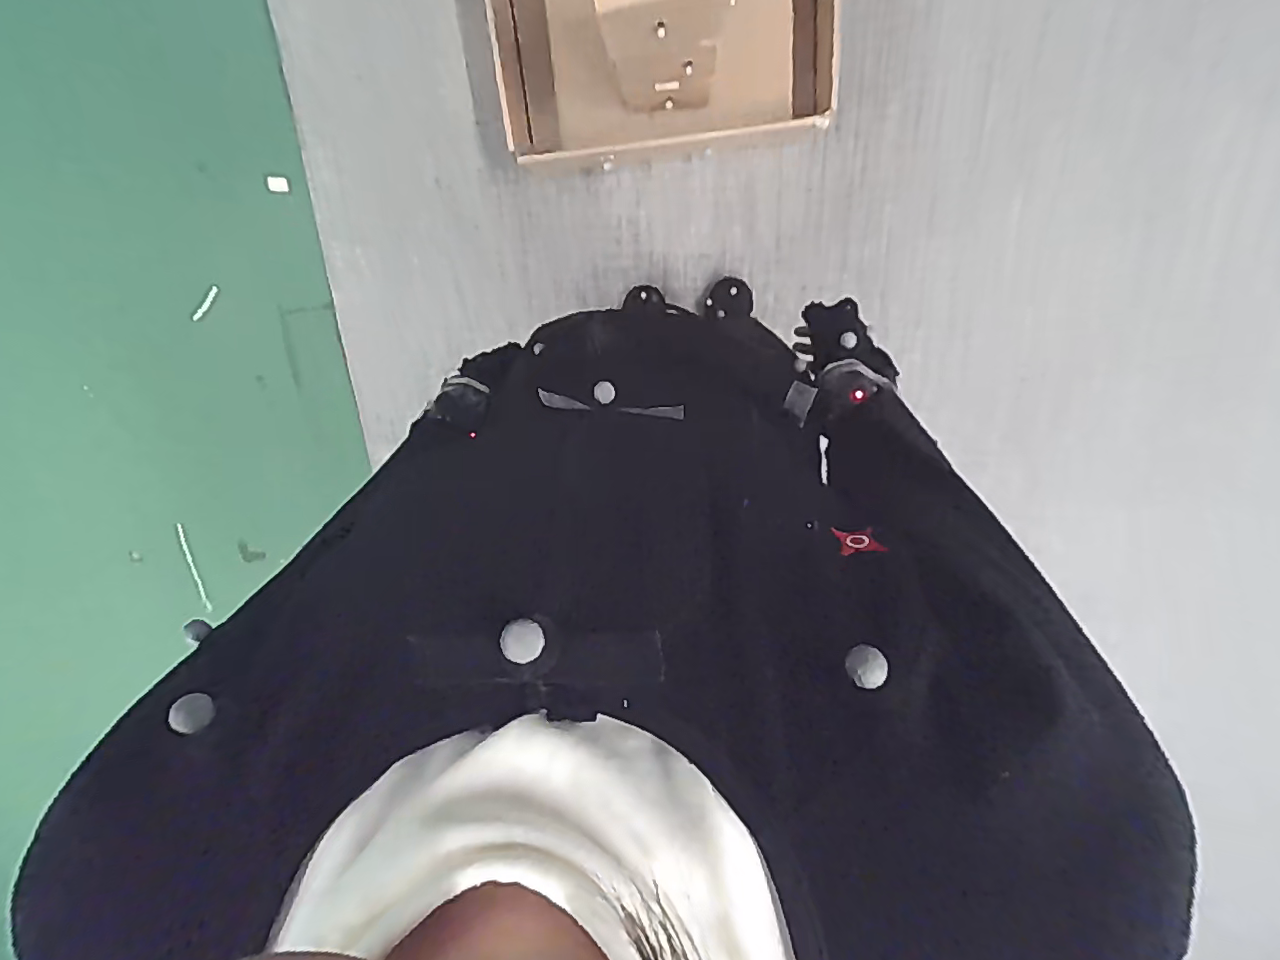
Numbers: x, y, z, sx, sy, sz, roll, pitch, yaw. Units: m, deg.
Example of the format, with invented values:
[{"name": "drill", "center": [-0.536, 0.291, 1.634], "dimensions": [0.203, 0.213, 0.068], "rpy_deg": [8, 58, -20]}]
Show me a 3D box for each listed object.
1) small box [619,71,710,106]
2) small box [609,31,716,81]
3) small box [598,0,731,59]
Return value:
[{"name": "small box", "center": [0.049, -0.823, 1.014], "dimensions": [0.168, 0.176, 0.179], "rpy_deg": [-1, 112, 5]}, {"name": "small box", "center": [0.036, -0.765, 0.863], "dimensions": [0.168, 0.176, 0.179], "rpy_deg": [-2, 110, 5]}, {"name": "small box", "center": [0.025, -0.697, 0.714], "dimensions": [0.179, 0.176, 0.168], "rpy_deg": [-9, 111, 7]}]
